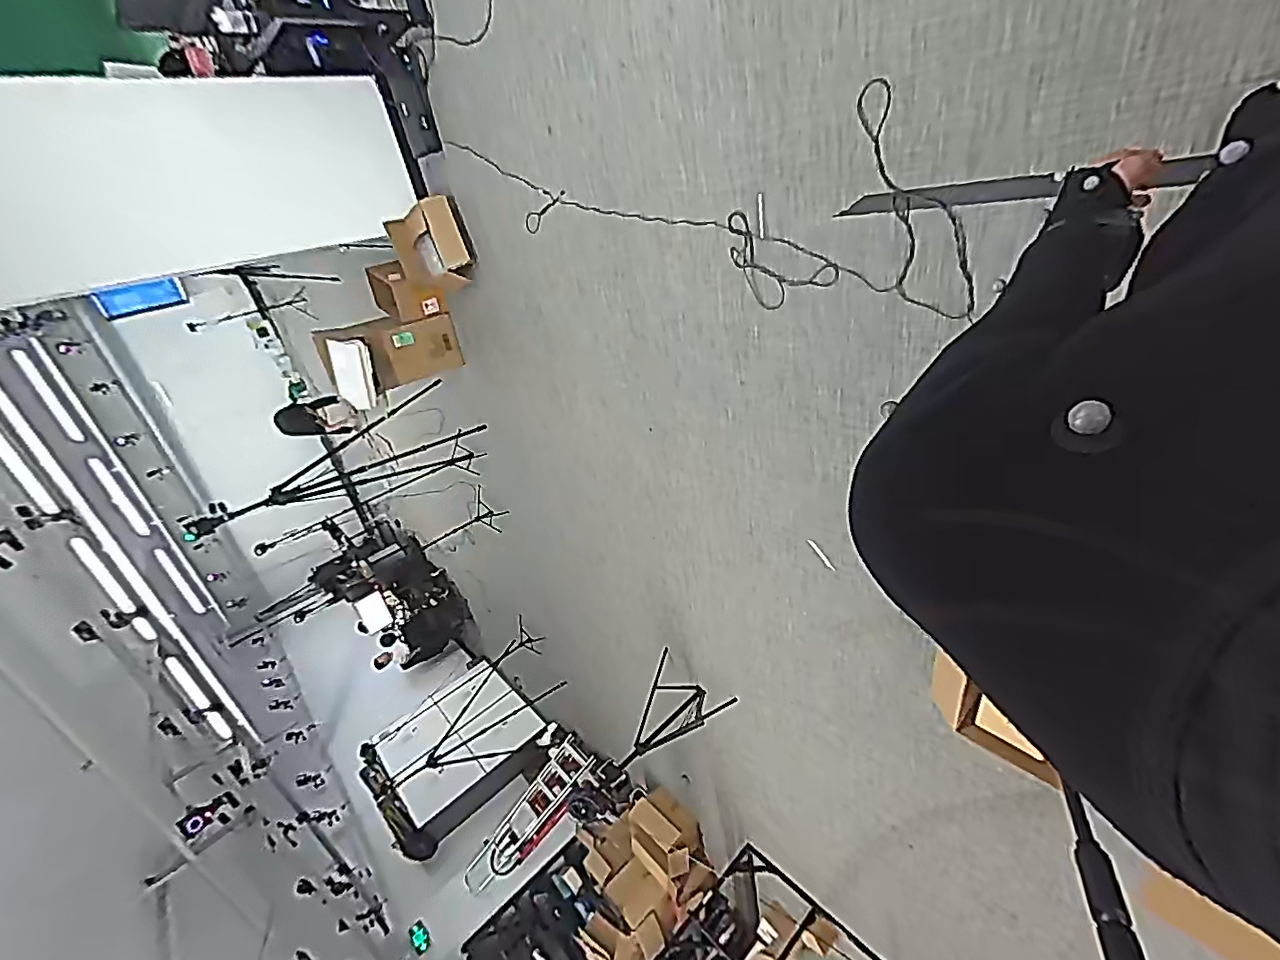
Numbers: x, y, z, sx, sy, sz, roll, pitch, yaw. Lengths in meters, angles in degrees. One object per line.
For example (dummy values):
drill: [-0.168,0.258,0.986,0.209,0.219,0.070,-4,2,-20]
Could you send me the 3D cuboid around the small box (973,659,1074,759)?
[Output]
small box: [1.105,0.648,1.561,0.179,0.176,0.168,24,131,44]
